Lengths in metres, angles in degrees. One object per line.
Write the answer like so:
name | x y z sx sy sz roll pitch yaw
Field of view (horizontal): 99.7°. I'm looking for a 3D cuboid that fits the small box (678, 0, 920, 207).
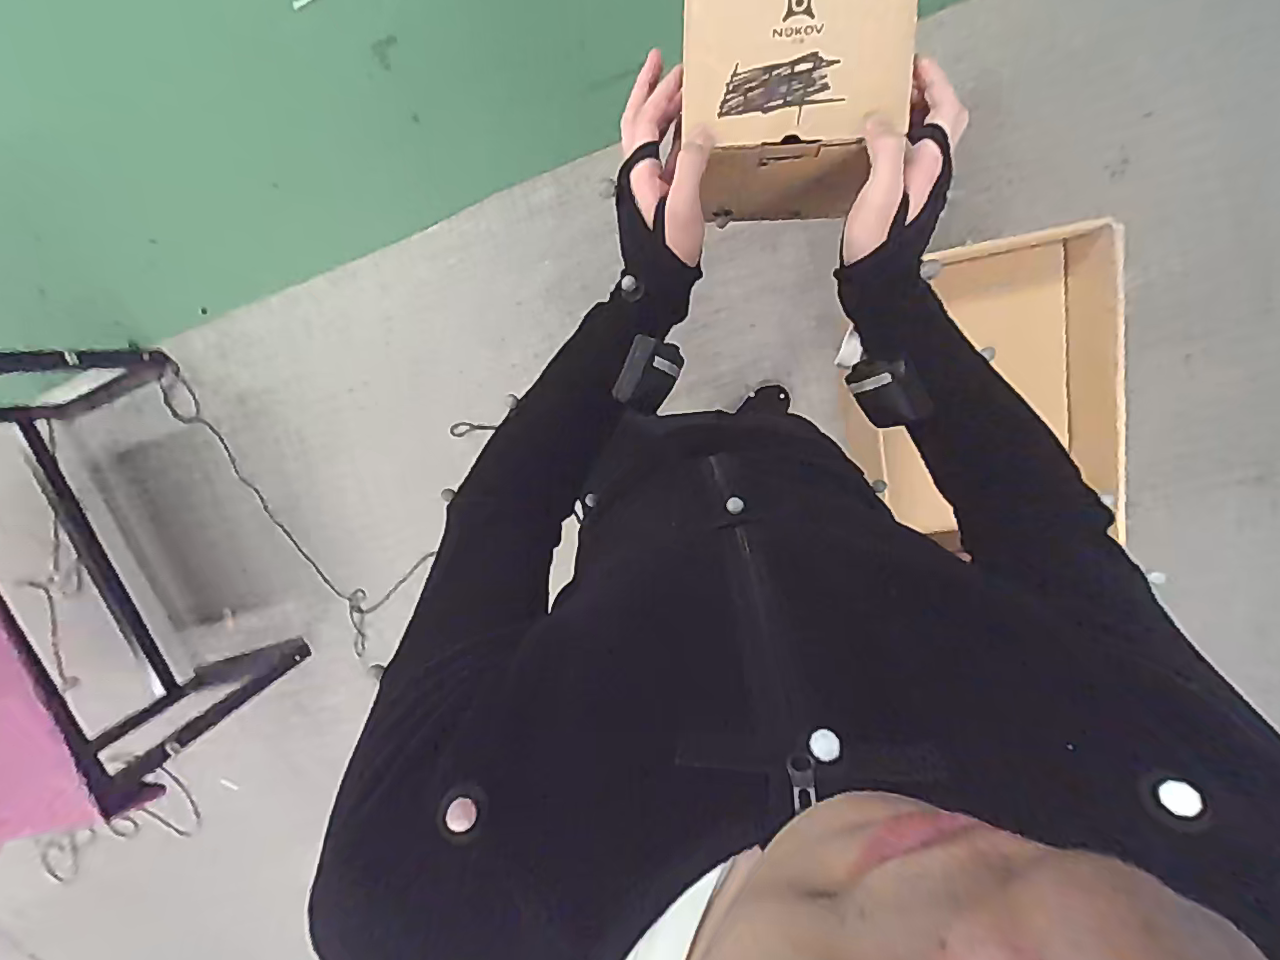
small box | 0.123 -0.347 0.457 0.168 0.176 0.179 2 97 8
